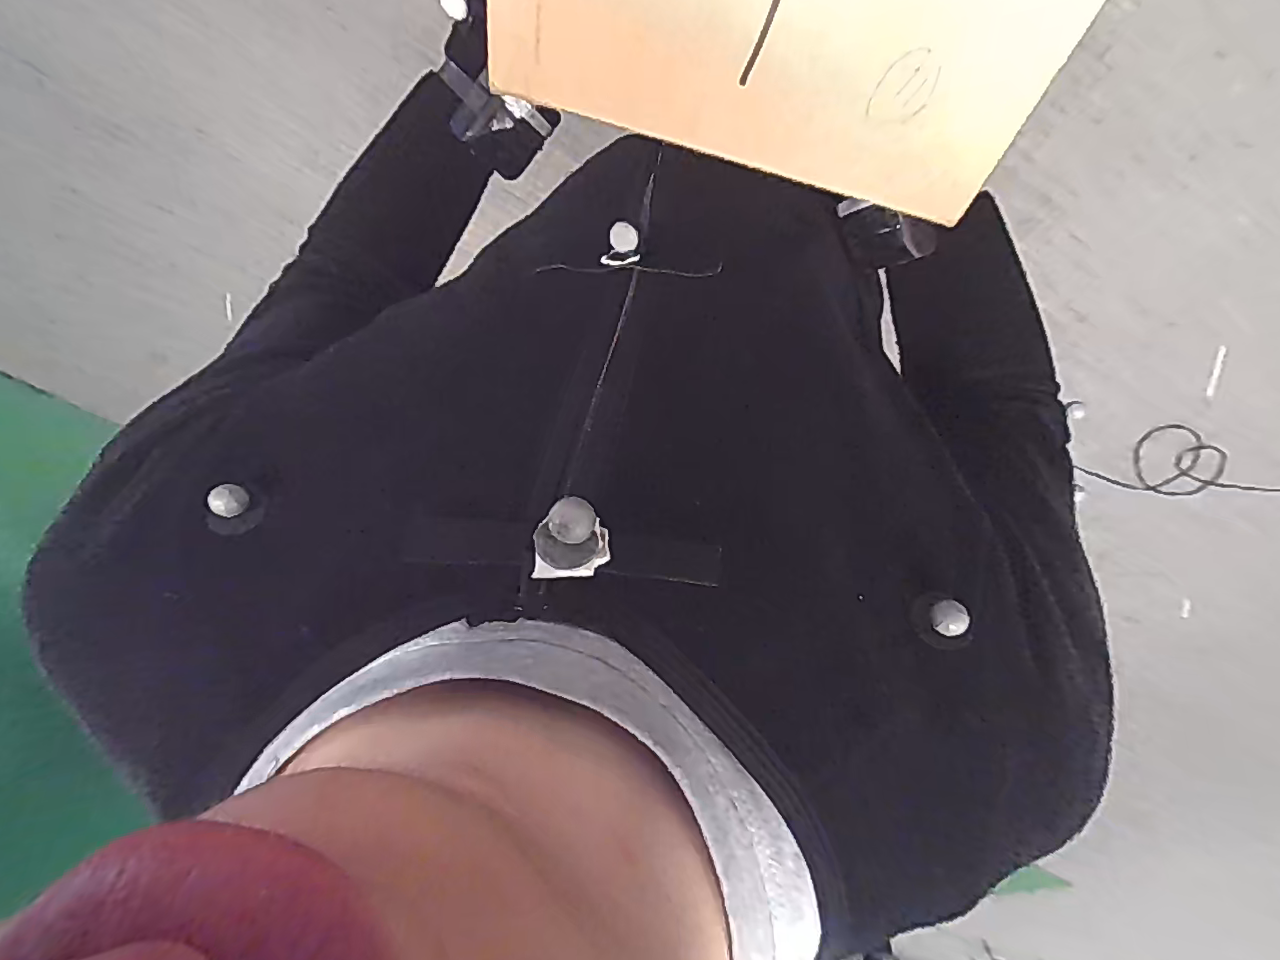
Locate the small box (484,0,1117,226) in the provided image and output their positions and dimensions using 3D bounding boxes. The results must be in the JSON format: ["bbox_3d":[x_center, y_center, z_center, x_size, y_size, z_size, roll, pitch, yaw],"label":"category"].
[{"bbox_3d":[0.060,-0.218,0.166,0.168,0.176,0.179,15,139,-3],"label":"small box"}]
